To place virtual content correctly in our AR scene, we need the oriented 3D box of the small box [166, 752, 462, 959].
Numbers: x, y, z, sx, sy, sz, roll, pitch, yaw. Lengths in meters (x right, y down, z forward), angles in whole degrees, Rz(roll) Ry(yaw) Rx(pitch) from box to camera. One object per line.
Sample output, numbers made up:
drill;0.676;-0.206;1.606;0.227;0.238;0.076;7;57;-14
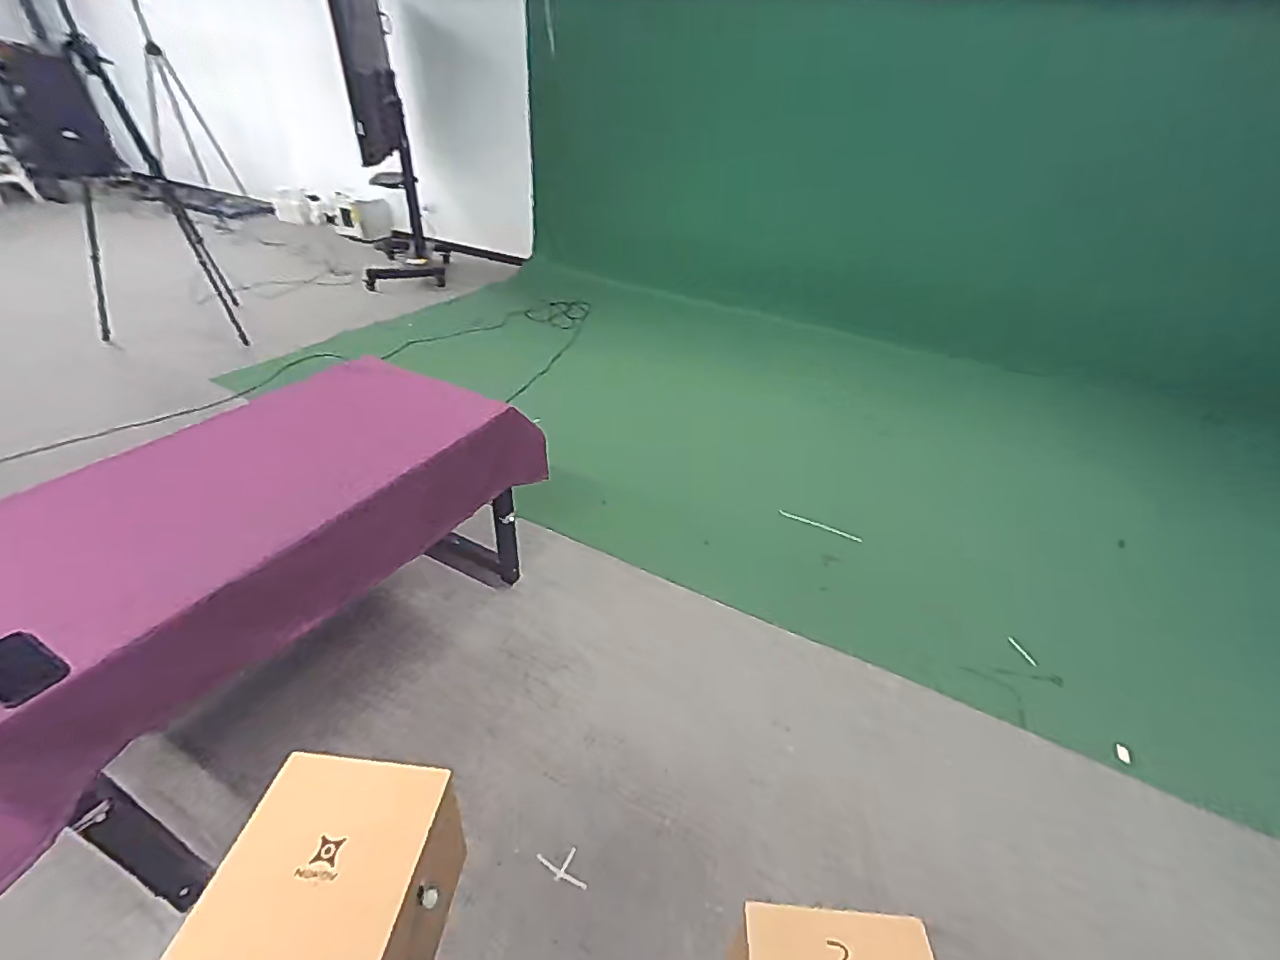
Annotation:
small box;-0.280;0.397;0.517;0.168;0.176;0.179;6;34;1
